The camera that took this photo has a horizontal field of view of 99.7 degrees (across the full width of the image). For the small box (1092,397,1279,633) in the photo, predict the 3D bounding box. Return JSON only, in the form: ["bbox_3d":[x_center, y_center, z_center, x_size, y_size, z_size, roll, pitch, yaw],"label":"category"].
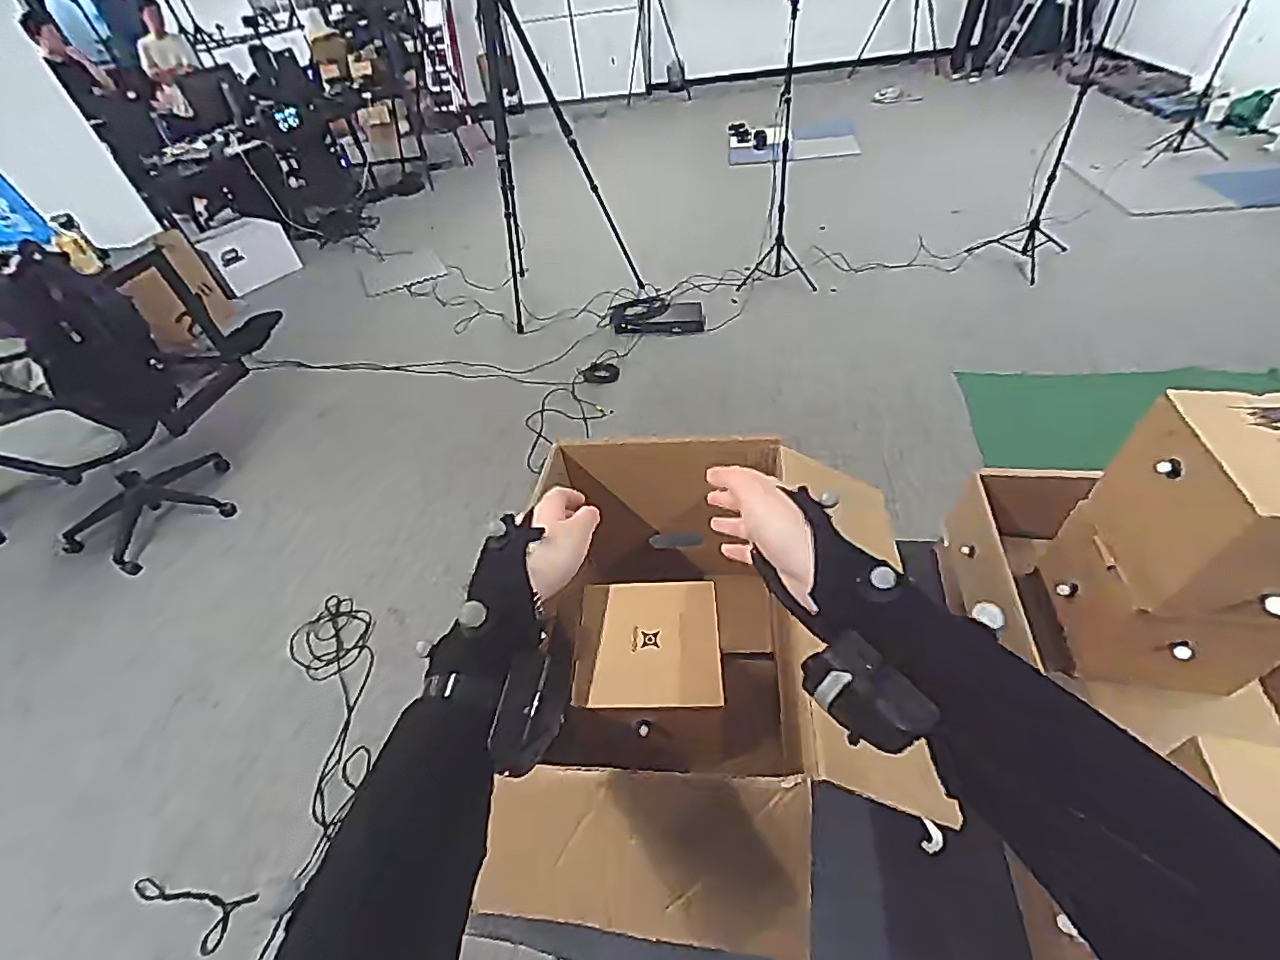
[{"bbox_3d":[0.619,0.035,0.556,0.168,0.176,0.179,3,47,12],"label":"small box"}]
